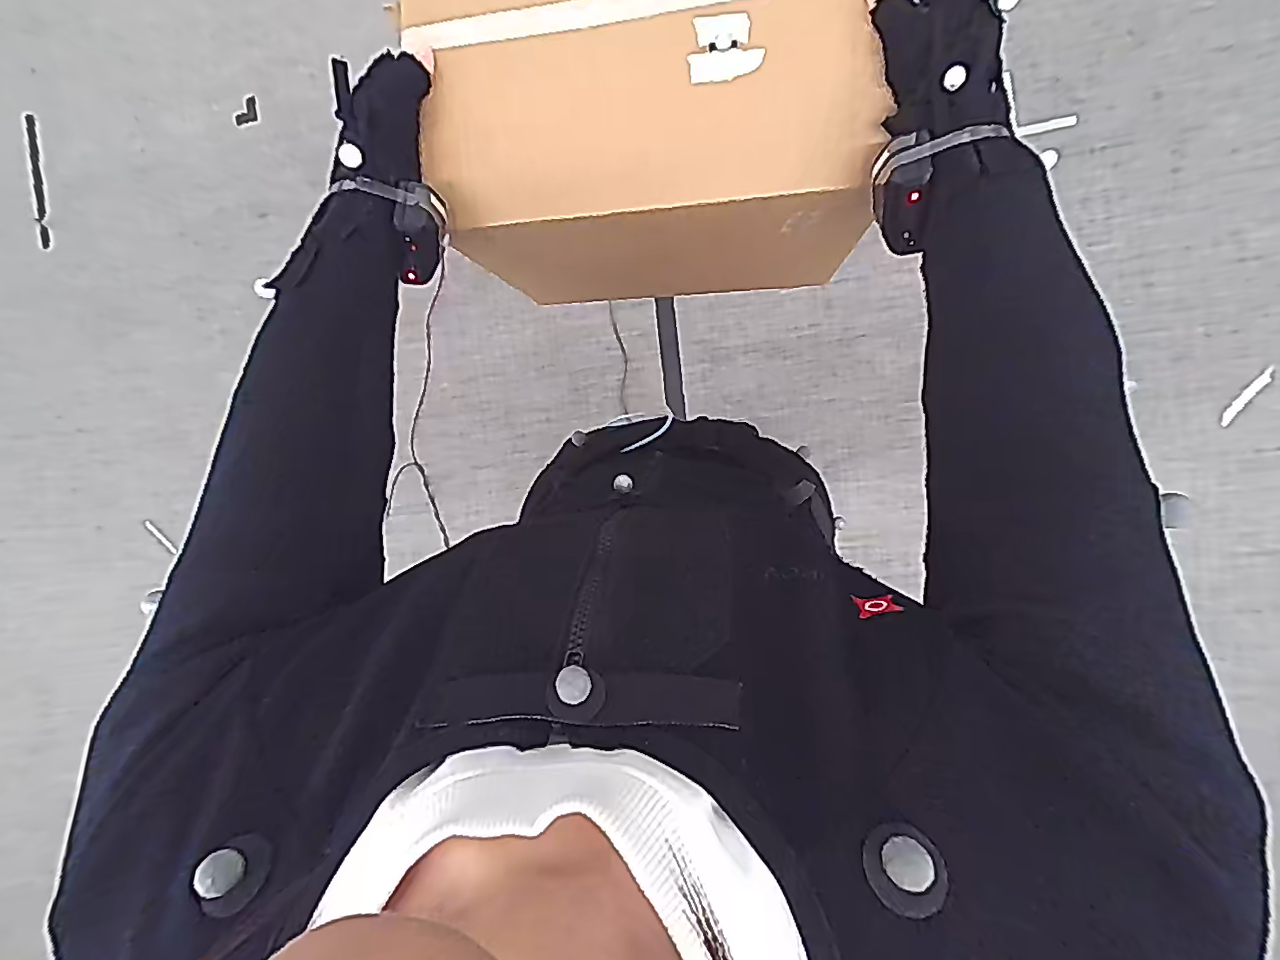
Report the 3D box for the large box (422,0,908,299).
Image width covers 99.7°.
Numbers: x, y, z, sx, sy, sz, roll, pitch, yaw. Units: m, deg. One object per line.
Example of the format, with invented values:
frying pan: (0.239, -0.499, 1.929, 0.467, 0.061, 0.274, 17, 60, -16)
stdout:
large box: (0.027, -0.404, 0.590, 0.408, 0.320, 0.320, -2, 96, 8)
